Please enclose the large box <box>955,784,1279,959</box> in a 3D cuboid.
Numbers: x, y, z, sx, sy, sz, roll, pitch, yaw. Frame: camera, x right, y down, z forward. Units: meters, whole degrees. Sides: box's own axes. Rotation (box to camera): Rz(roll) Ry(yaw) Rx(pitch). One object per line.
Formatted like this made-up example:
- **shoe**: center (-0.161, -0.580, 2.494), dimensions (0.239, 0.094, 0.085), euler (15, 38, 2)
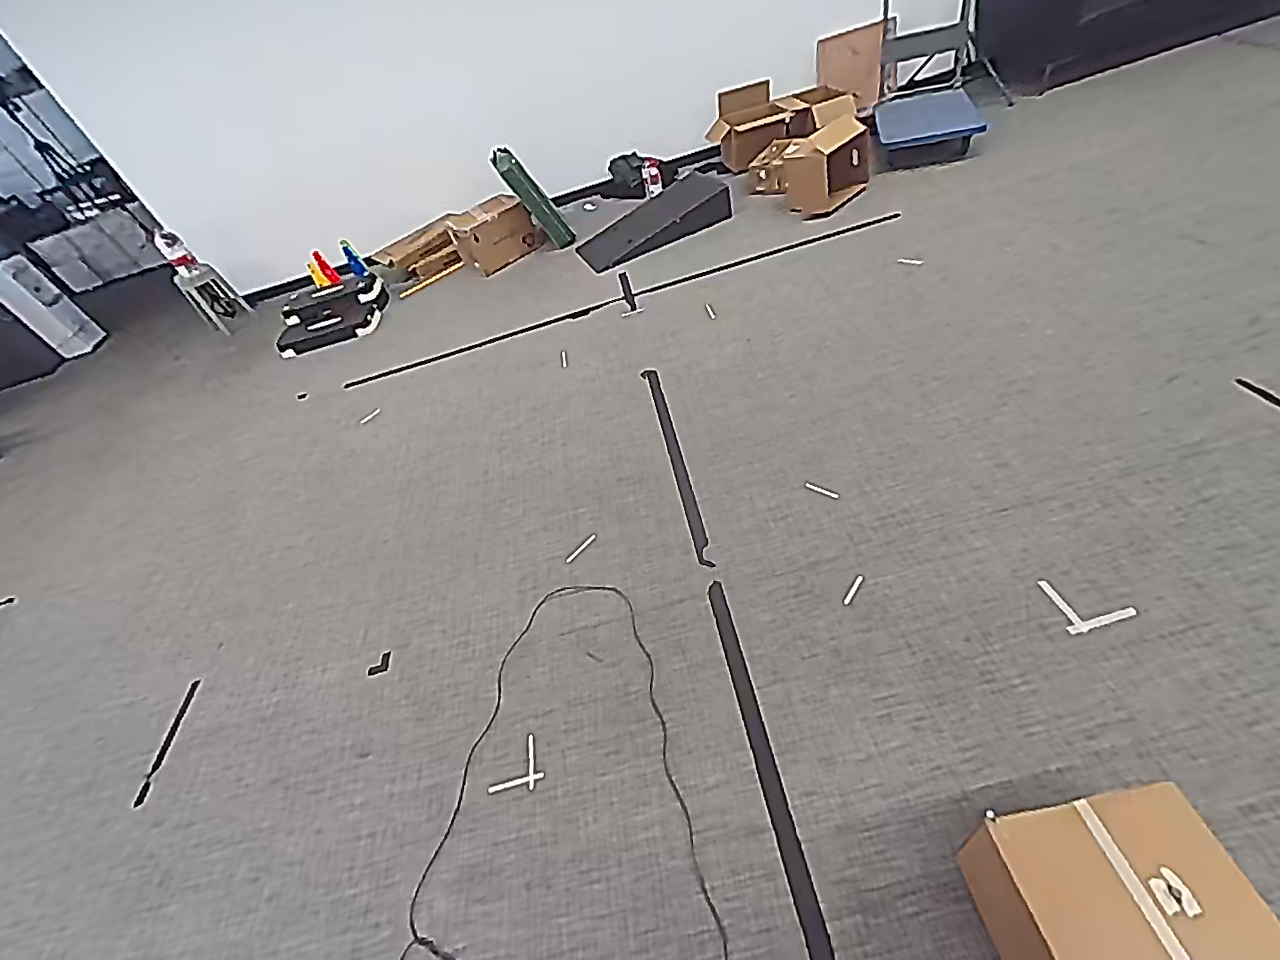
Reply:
- **large box**: center (0.795, 0.790, 0.882), dimensions (0.320, 0.320, 0.408), euler (-14, 43, 3)
